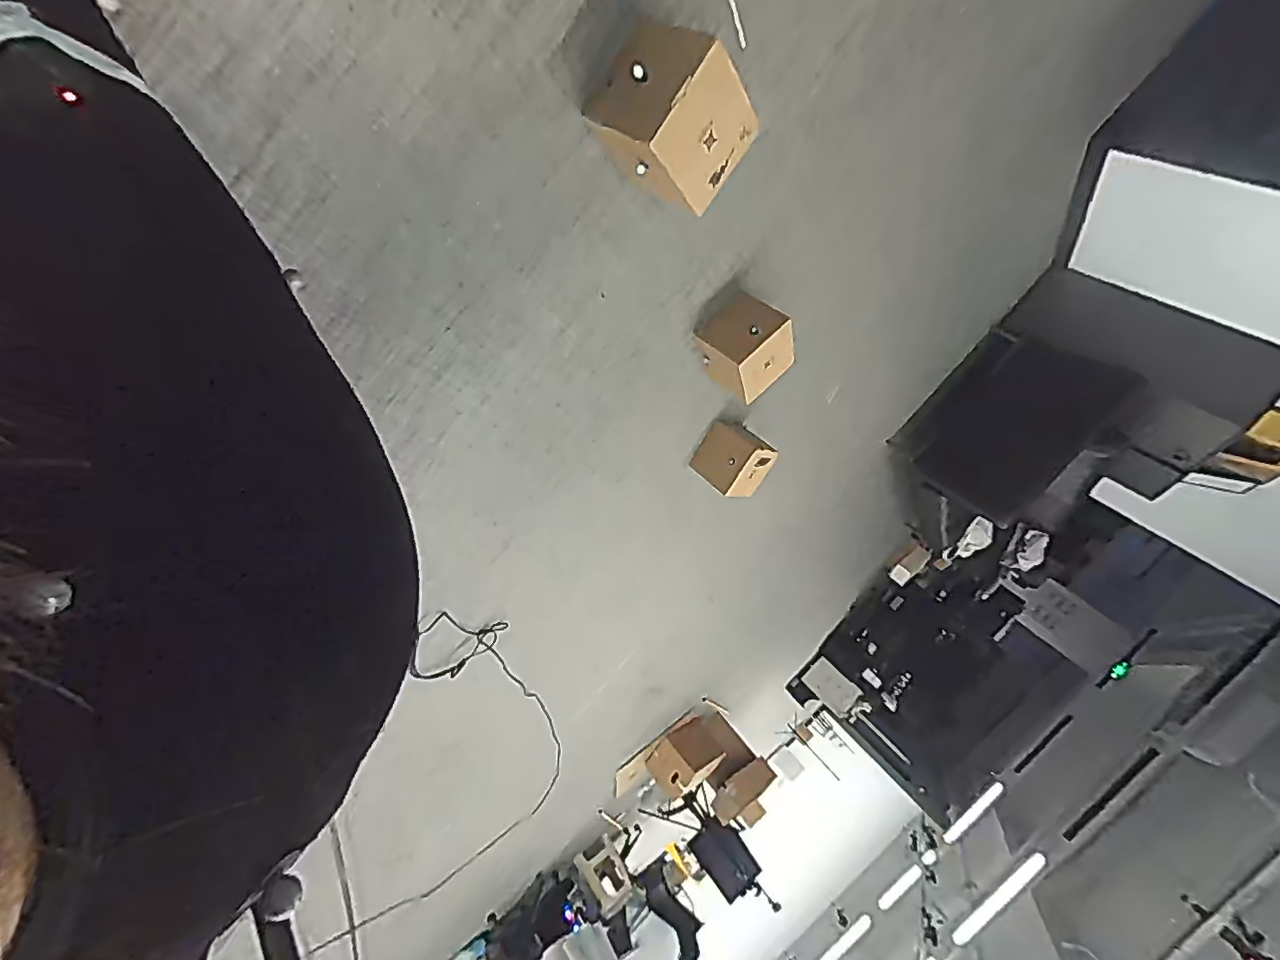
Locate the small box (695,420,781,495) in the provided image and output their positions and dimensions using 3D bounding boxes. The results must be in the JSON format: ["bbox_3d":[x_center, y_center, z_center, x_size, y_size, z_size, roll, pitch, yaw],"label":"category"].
[{"bbox_3d":[0.302,-0.070,1.701,0.168,0.176,0.179,3,123,-51],"label":"small box"}]

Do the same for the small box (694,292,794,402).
[{"bbox_3d":[0.265,-0.338,1.363,0.179,0.176,0.168,-43,148,-7],"label":"small box"}]

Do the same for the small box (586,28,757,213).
[{"bbox_3d":[0.047,-0.565,0.853,0.168,0.176,0.179,-54,147,10],"label":"small box"}]
